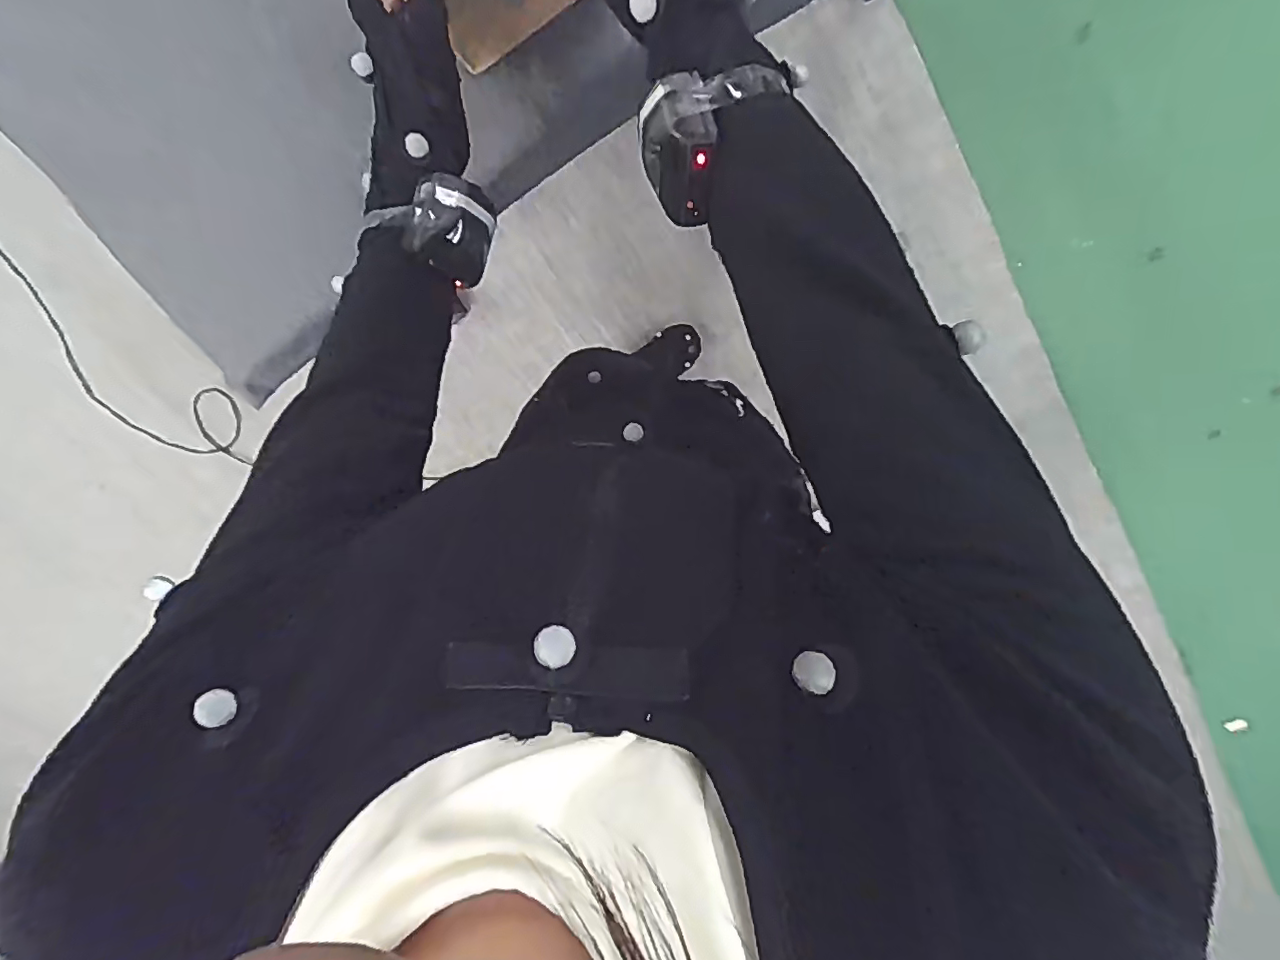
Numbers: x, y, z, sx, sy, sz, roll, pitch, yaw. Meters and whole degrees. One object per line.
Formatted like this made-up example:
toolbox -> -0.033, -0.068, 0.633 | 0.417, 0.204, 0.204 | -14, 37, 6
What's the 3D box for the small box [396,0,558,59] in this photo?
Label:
small box -> -0.139, -0.484, 0.424 | 0.179, 0.176, 0.168 | -27, 110, 14
